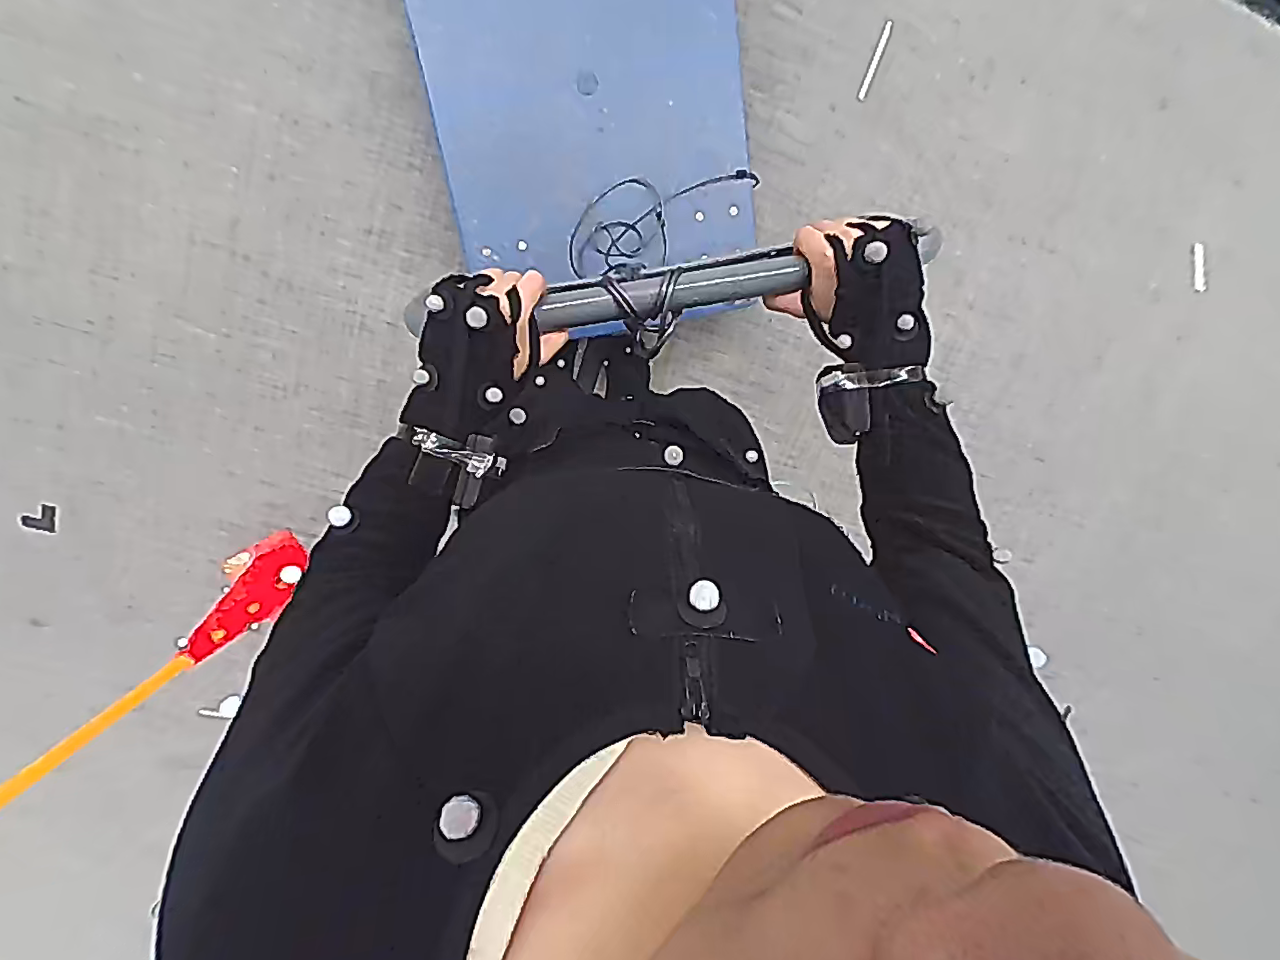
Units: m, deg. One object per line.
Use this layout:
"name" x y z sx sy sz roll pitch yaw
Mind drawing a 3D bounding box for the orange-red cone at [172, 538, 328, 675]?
"orange-red cone" -0.900 0.307 1.202 0.199 0.360 0.198 -27 109 1
